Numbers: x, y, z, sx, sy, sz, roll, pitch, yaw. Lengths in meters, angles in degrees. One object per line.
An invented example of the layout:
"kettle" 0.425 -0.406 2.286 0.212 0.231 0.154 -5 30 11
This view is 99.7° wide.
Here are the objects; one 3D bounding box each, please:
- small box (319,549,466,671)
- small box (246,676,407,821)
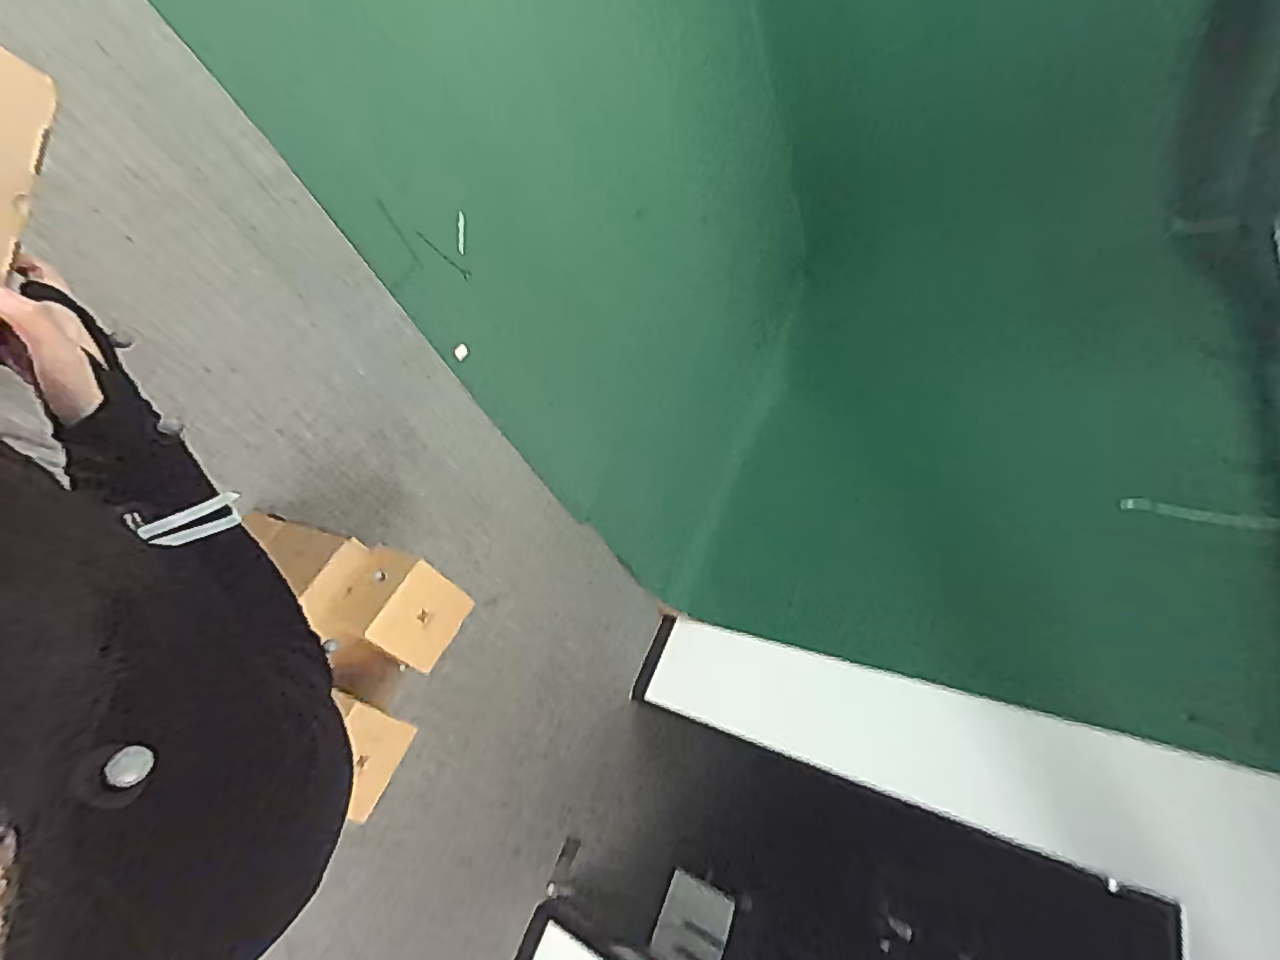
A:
"small box" -0.501 0.255 1.096 0.168 0.176 0.179 -60 139 -29
"small box" -0.588 0.496 1.010 0.179 0.176 0.168 -64 143 -29
